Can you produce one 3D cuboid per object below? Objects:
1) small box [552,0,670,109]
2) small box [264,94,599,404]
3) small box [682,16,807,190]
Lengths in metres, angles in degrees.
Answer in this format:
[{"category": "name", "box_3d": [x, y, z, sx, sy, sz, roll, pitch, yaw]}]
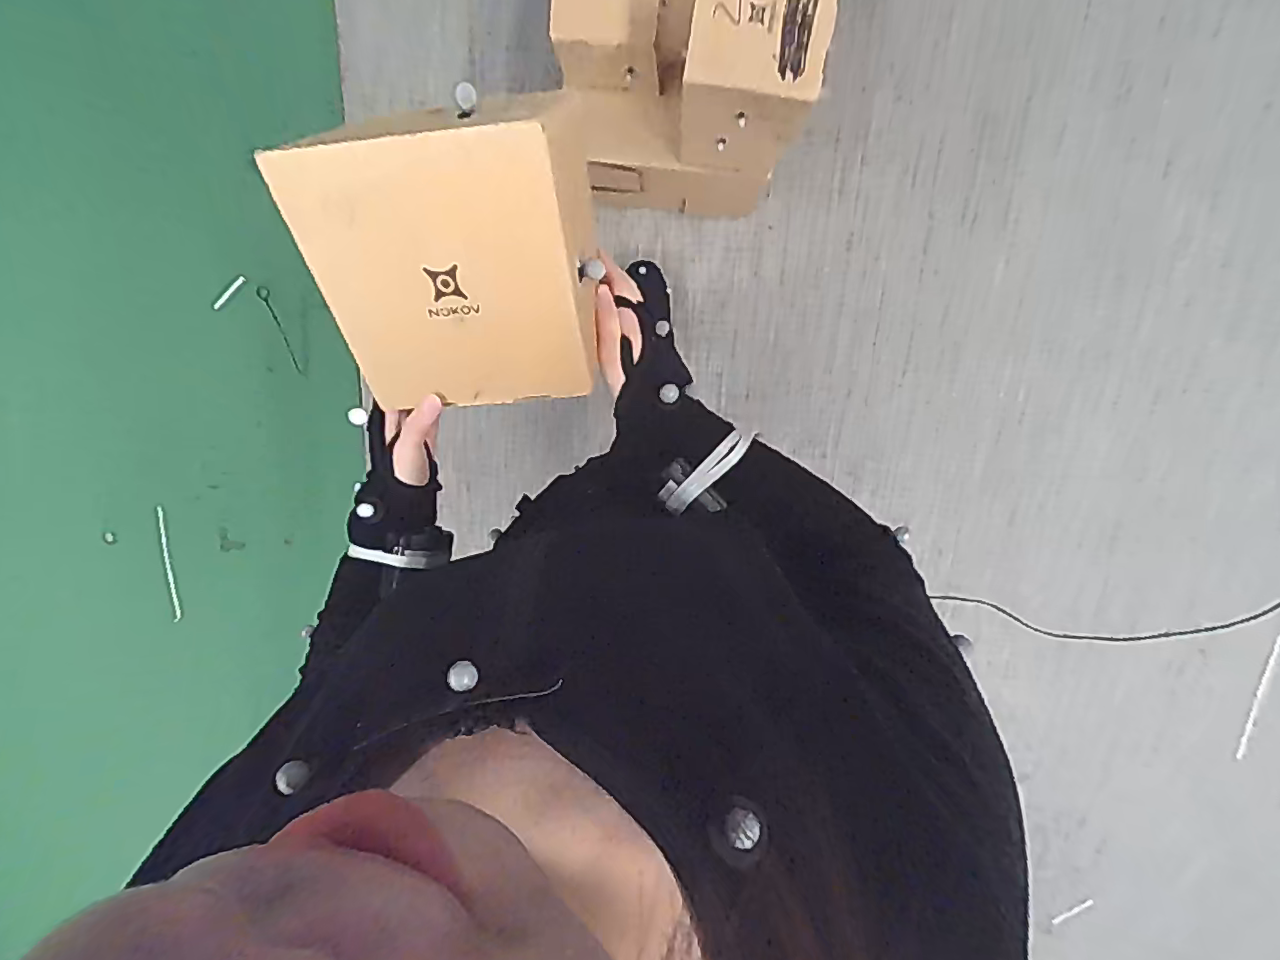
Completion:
[{"category": "small box", "box_3d": [-0.041, -0.751, 0.896, 0.168, 0.176, 0.179, 7, 101, 2]}, {"category": "small box", "box_3d": [-0.126, -0.180, 0.414, 0.168, 0.176, 0.179, -4, 131, 4]}, {"category": "small box", "box_3d": [0.164, -0.618, 0.908, 0.168, 0.176, 0.179, 9, 102, 2]}]
